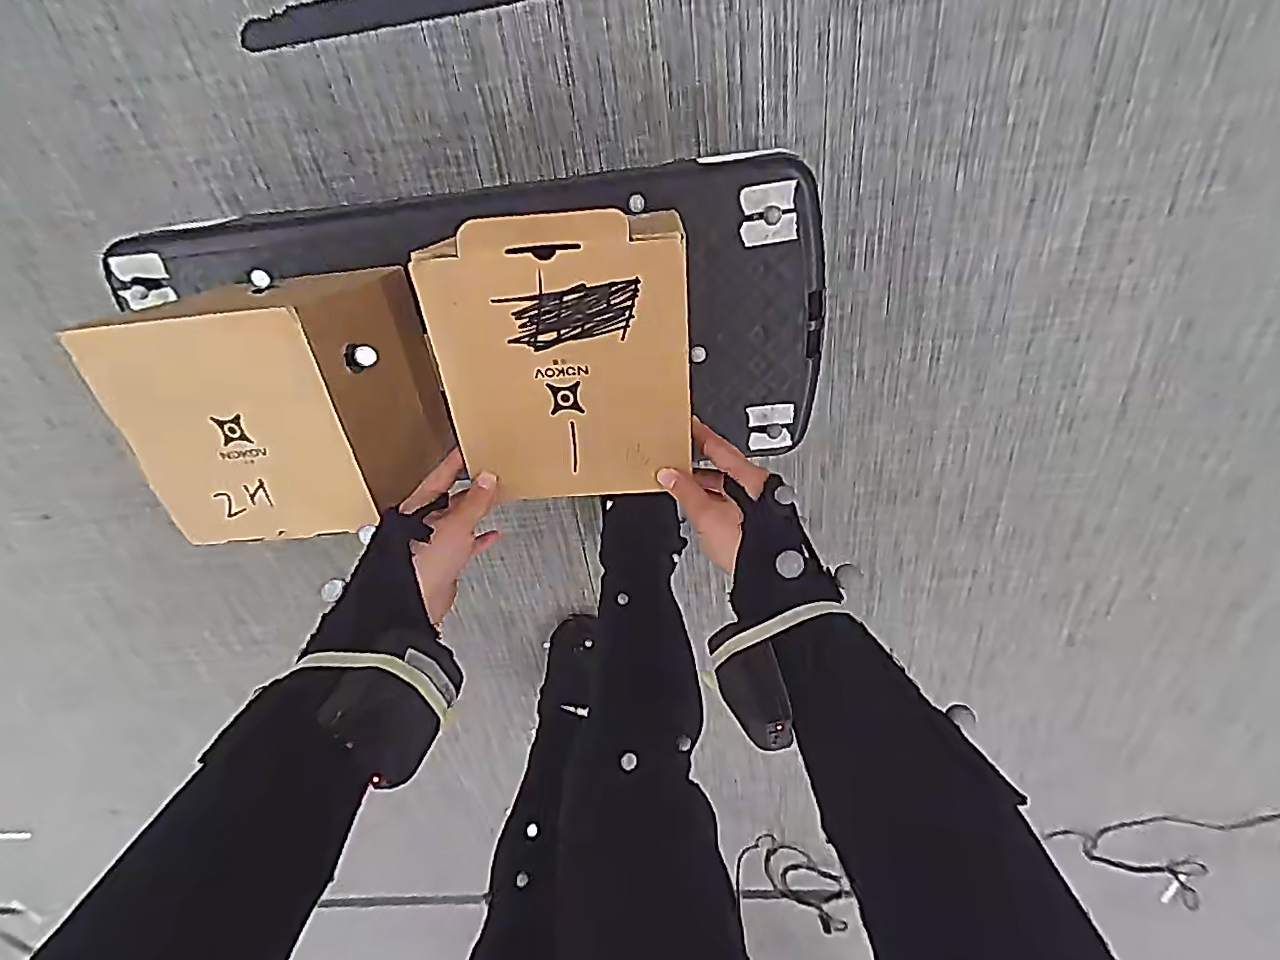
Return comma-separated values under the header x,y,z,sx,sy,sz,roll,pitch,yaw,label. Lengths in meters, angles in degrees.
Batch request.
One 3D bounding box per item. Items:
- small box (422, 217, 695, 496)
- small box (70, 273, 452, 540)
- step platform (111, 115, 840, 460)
x,y,z,sx,sy,sz,roll,pitch,yaw,label
-0.044,-0.106,0.430,0.168,0.176,0.179,-3,121,4,small box
-0.281,-0.071,0.456,0.168,0.176,0.179,-4,119,5,small box
-0.145,-0.185,0.588,0.684,0.204,0.286,-5,119,5,step platform
